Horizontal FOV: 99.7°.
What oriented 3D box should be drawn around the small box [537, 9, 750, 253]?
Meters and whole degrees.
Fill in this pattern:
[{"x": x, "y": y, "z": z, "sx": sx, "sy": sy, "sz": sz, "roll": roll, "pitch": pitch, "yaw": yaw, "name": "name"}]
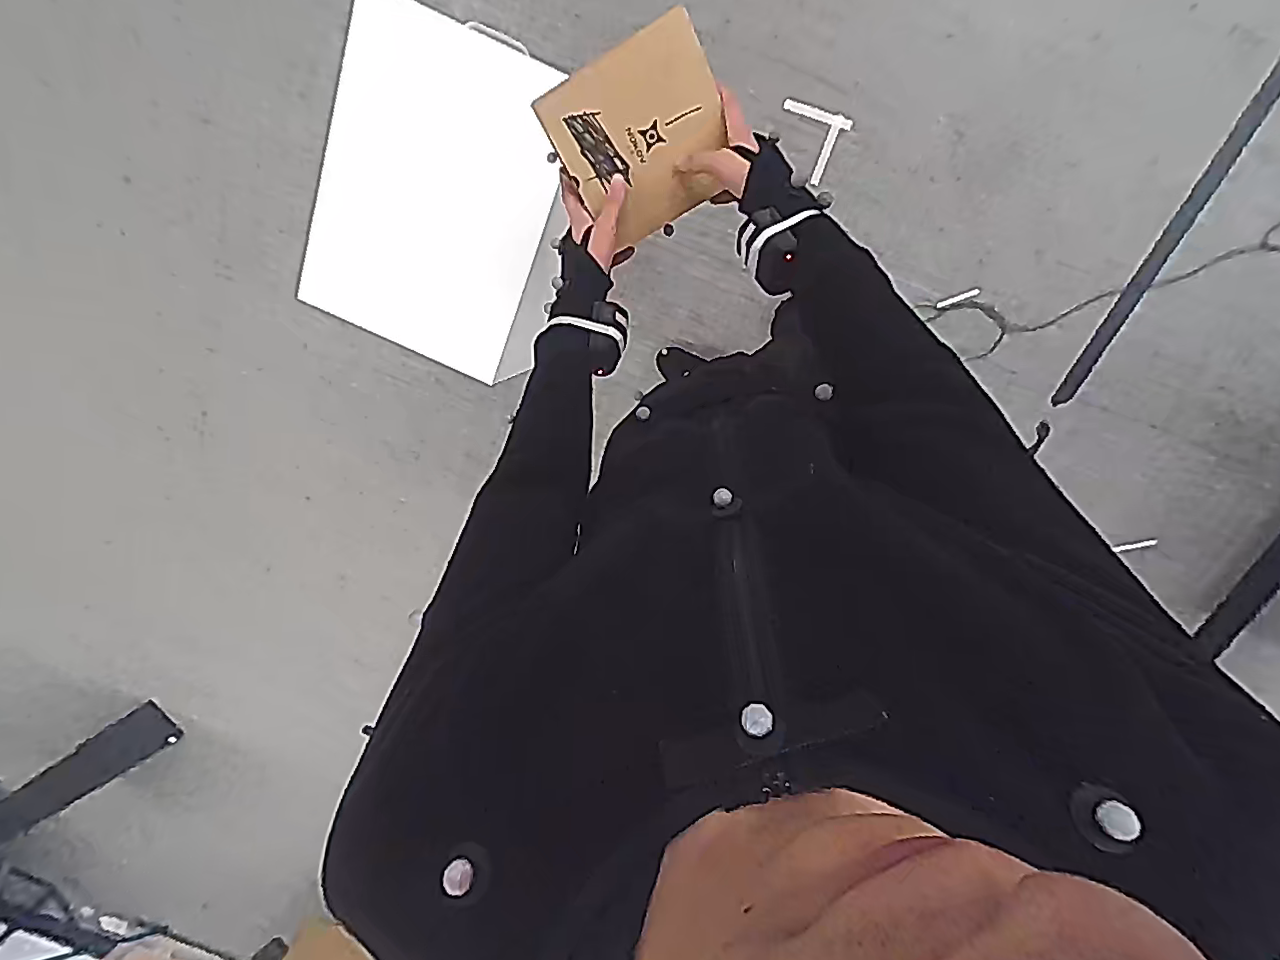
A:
[{"x": 0.003, "y": -0.386, "z": 0.637, "sx": 0.179, "sy": 0.176, "sz": 0.168, "roll": -27, "pitch": 113, "yaw": 7, "name": "small box"}]
